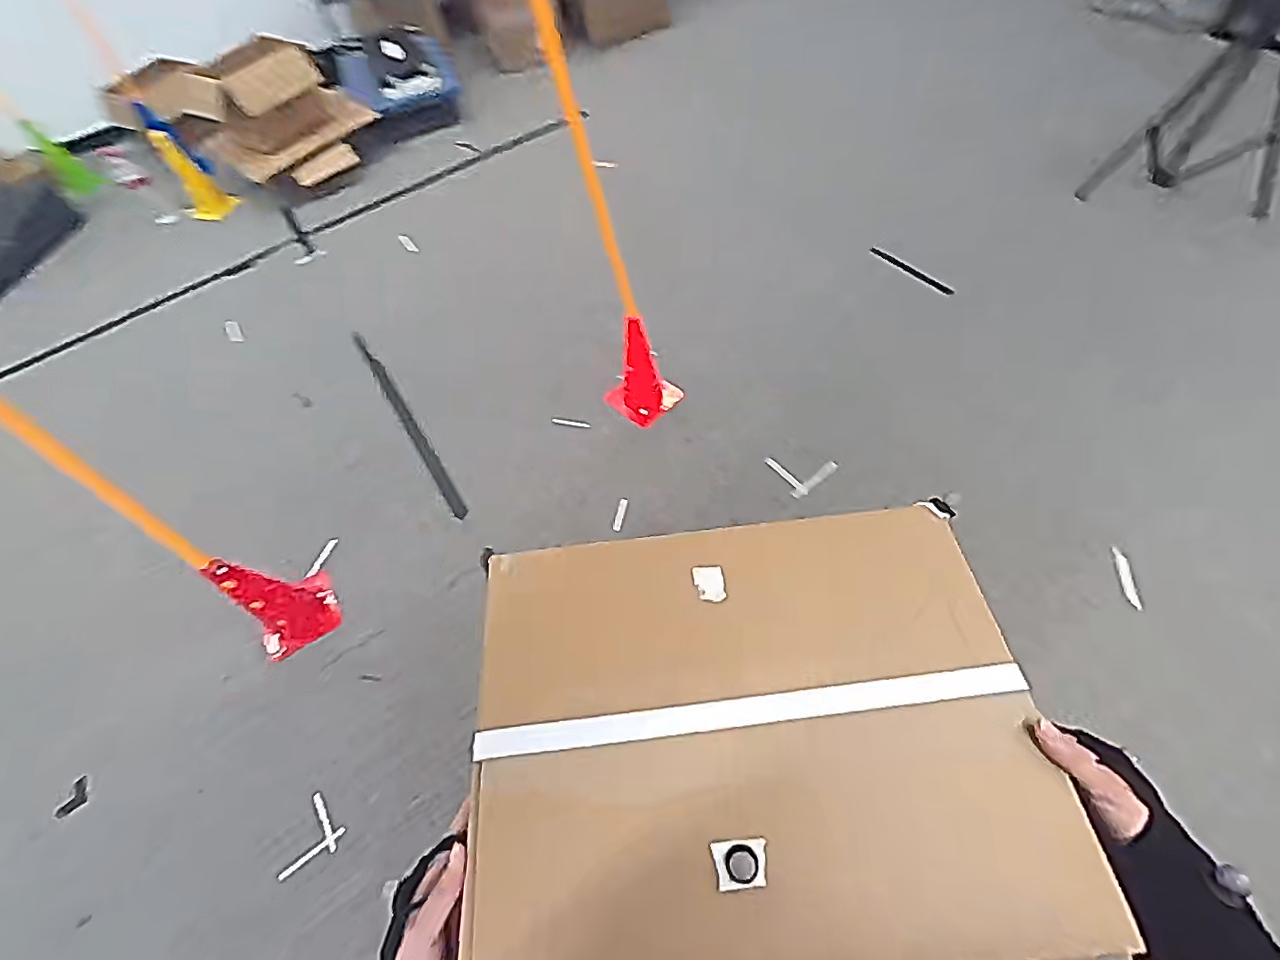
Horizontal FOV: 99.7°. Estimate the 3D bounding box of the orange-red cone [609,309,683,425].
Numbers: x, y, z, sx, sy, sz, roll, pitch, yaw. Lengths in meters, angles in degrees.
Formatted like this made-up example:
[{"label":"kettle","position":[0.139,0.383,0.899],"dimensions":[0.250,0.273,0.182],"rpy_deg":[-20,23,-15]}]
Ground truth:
[{"label":"orange-red cone","position":[0.006,-0.376,1.669],"dimensions":[0.199,0.360,0.198],"rpy_deg":[-40,63,-19]}]
